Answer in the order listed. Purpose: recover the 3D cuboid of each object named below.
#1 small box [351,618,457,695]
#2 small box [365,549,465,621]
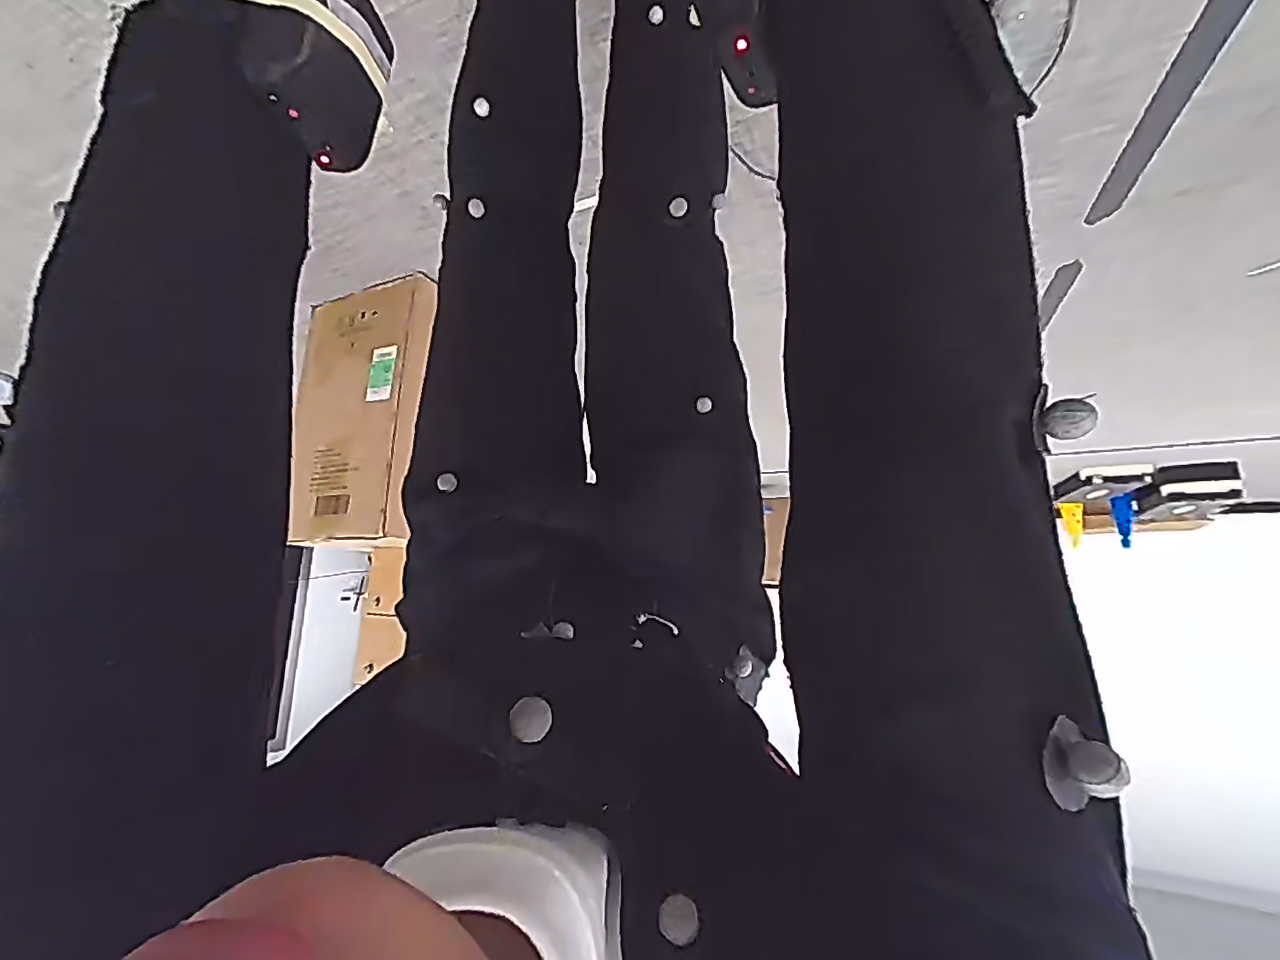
[{"bbox_3d":[-0.577,0.426,1.344,0.179,0.176,0.168,-3,168,21],"label":"small box"},{"bbox_3d":[-0.565,0.265,1.377,0.179,0.176,0.168,-3,168,23],"label":"small box"}]
